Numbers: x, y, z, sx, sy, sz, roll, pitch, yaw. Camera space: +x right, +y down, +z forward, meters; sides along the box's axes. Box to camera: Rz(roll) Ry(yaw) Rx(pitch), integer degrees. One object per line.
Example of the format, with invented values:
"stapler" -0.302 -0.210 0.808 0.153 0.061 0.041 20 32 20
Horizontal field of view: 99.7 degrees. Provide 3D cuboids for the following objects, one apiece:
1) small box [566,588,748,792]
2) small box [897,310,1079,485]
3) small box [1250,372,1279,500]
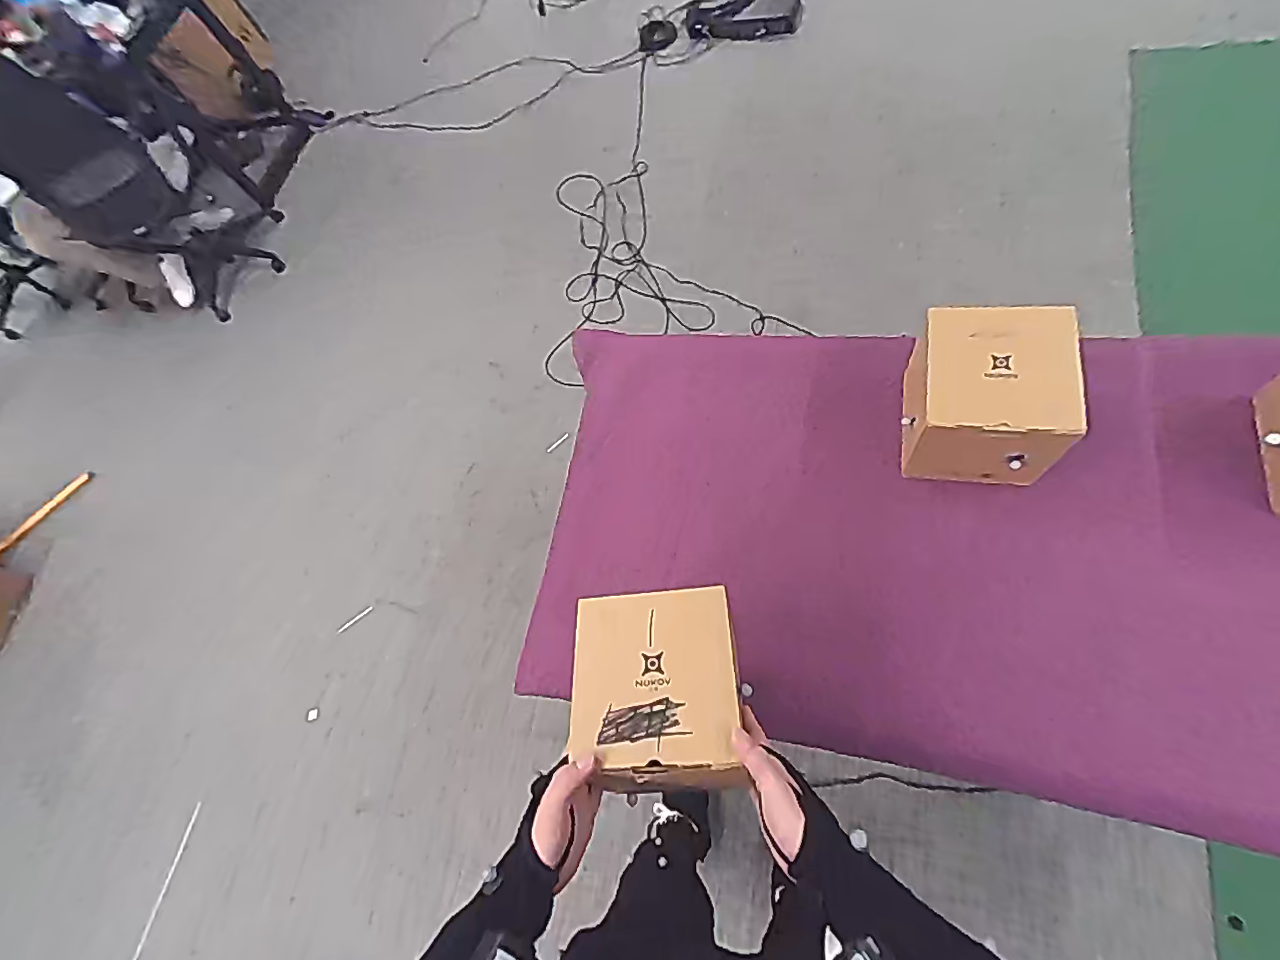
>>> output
"small box" 0.026 0.242 0.605 0.168 0.176 0.179 -8 52 9
"small box" 0.451 -0.104 0.727 0.168 0.176 0.179 5 69 17
"small box" 0.842 -0.059 0.592 0.168 0.176 0.179 6 70 18
